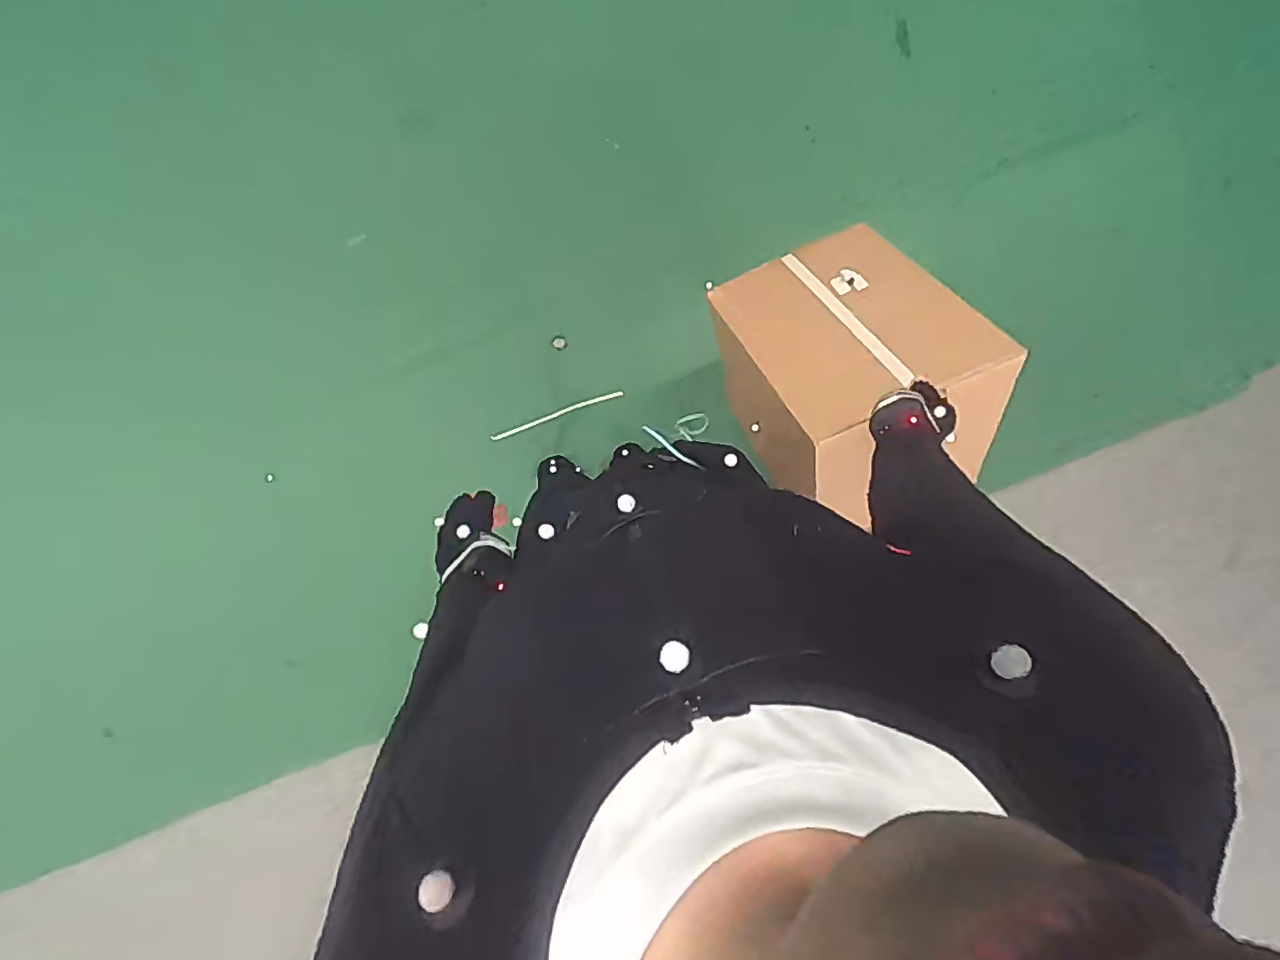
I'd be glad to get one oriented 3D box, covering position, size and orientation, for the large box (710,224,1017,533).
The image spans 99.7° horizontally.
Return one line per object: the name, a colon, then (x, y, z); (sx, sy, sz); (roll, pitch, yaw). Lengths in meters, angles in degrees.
large box: (0.366, -0.182, 0.985); (0.320, 0.320, 0.408); (-23, 52, 1)
